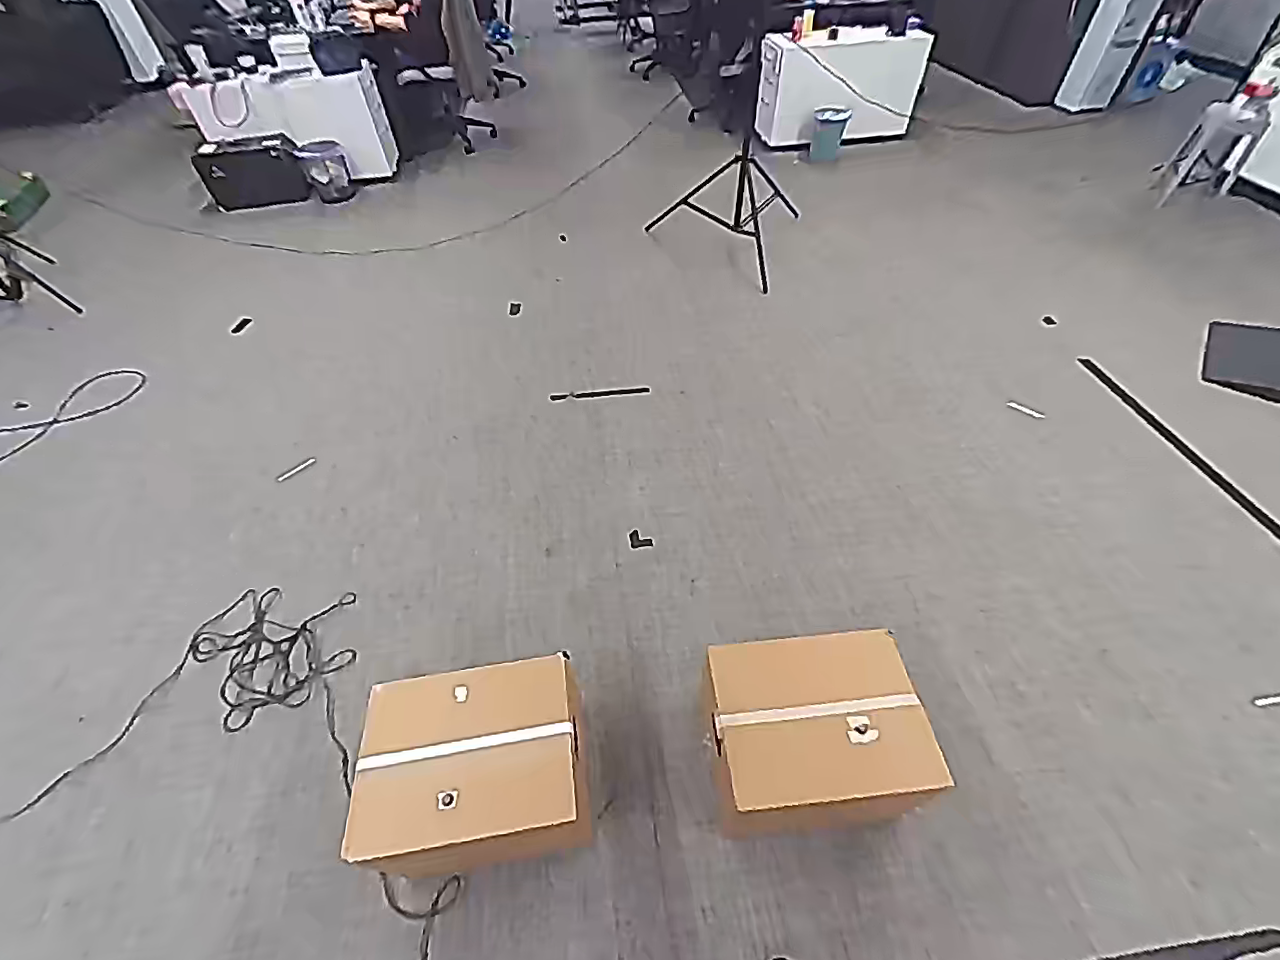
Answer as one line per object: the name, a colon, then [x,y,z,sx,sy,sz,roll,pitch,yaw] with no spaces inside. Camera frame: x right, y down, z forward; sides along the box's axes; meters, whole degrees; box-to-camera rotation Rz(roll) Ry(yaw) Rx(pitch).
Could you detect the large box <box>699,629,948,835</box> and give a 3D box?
large box: [0.361,0.558,1.195,0.408,0.320,0.320,-4,49,-3]
